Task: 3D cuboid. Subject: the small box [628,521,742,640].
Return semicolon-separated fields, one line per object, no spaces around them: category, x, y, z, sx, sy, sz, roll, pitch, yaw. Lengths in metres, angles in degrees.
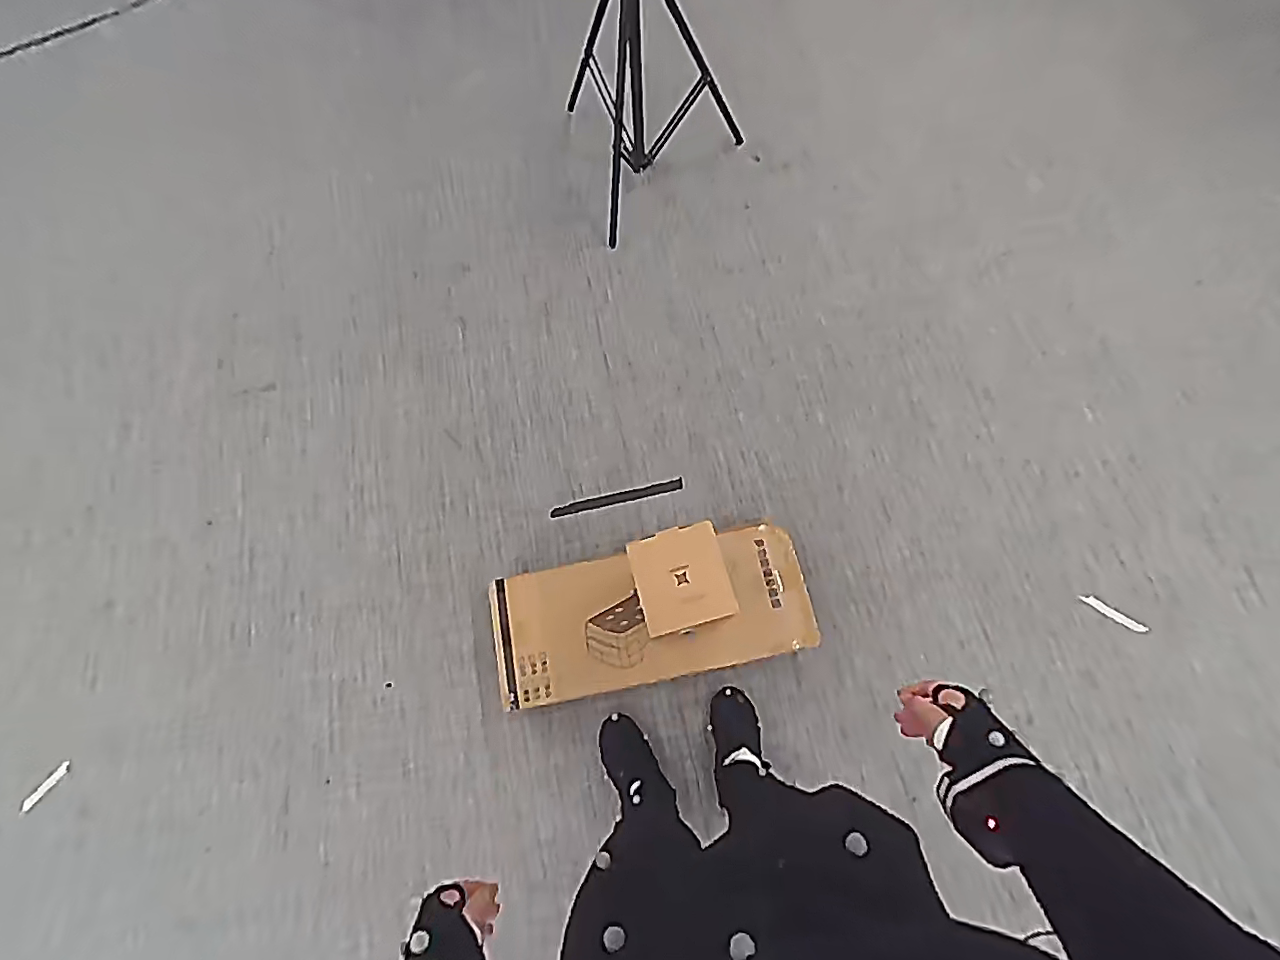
small box;0.080;0.199;1.038;0.168;0.176;0.179;-16;72;-2
